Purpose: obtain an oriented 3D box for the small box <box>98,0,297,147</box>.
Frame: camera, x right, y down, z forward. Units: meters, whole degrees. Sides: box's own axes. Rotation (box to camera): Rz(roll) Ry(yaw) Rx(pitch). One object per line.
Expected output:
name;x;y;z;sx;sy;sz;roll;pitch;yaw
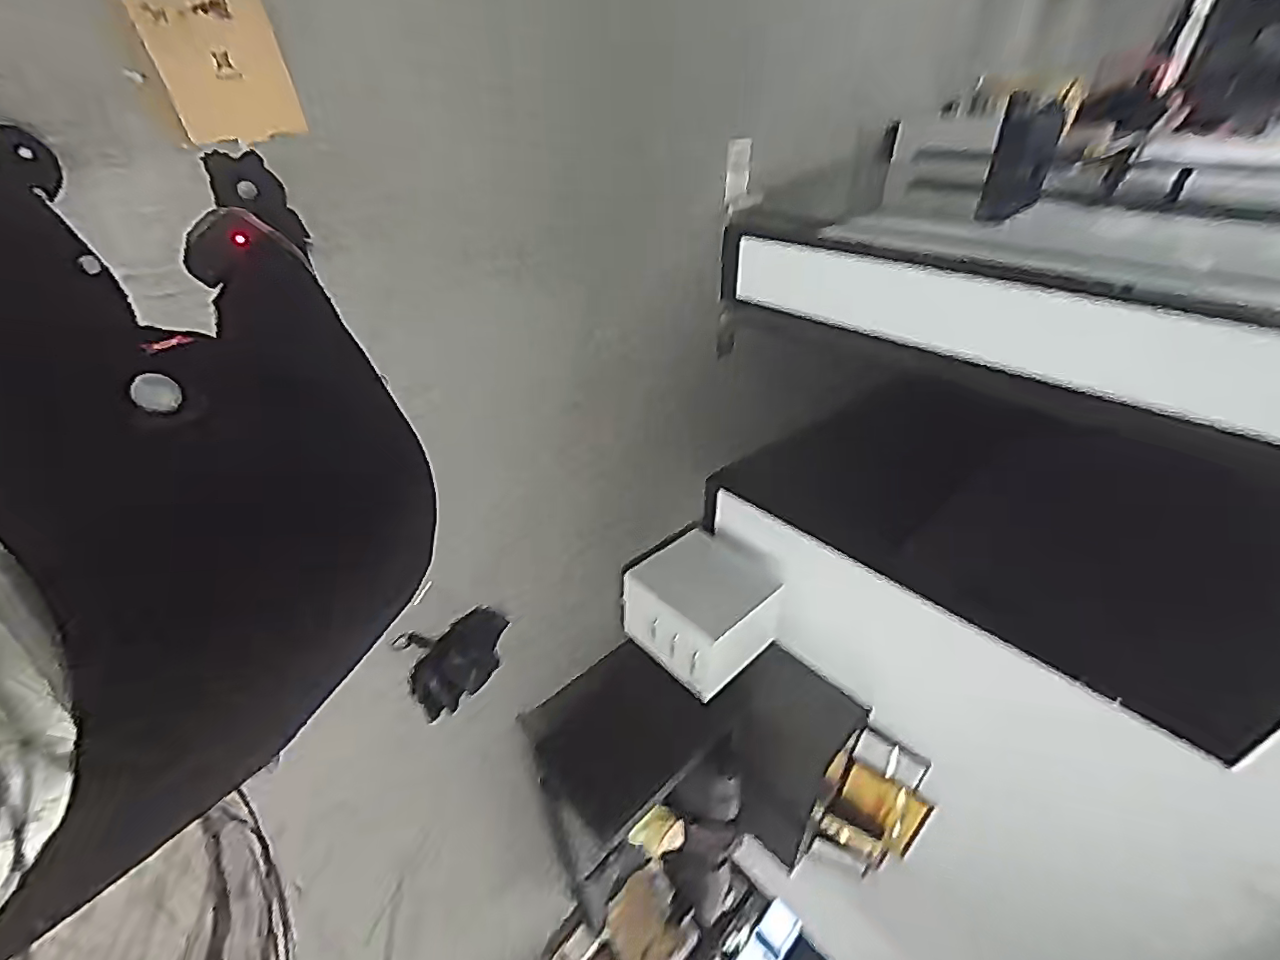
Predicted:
small box;-0.663;-0.620;0.818;0.168;0.176;0.179;-32;136;-32
